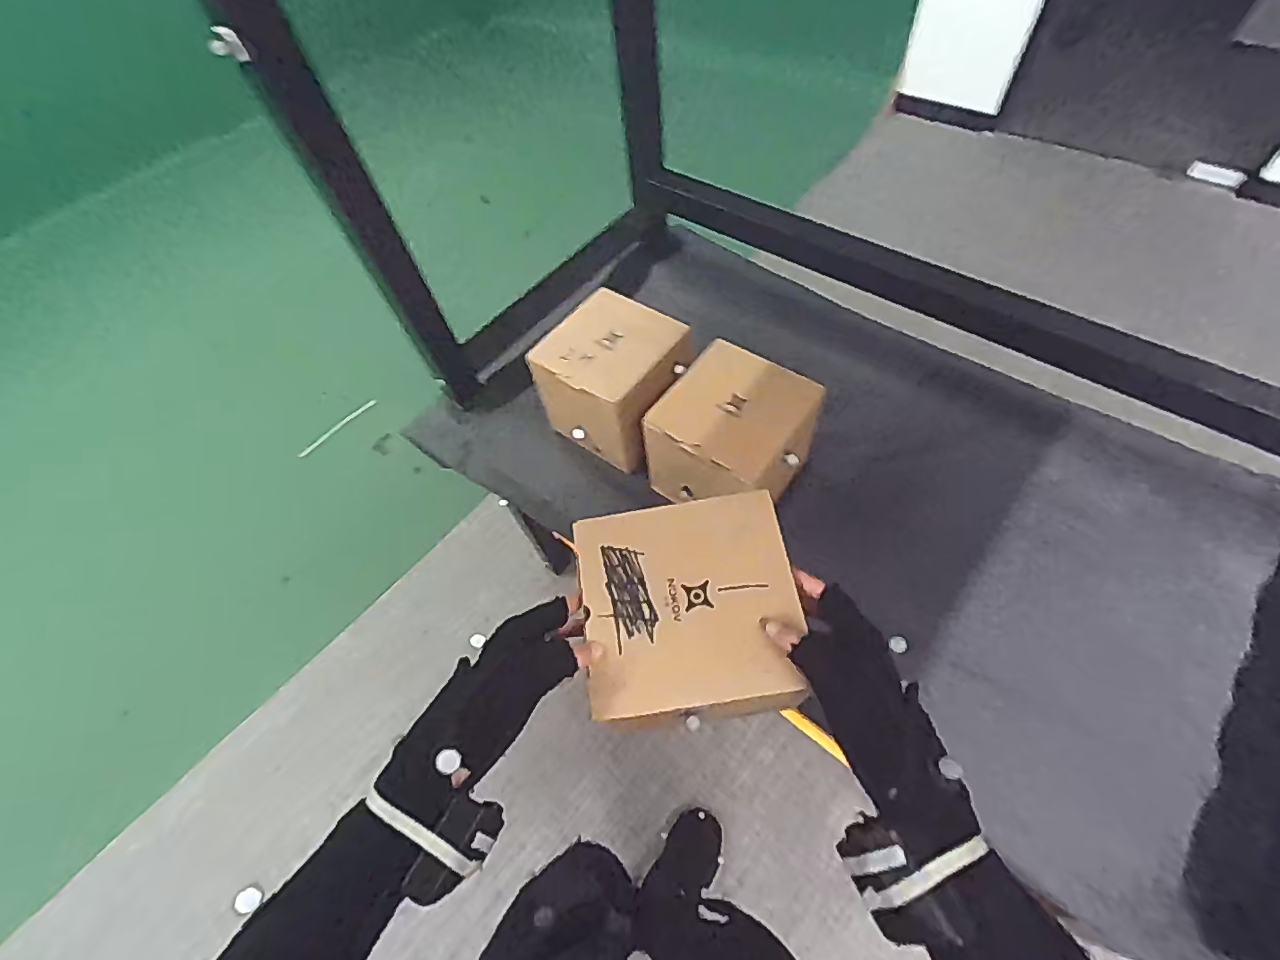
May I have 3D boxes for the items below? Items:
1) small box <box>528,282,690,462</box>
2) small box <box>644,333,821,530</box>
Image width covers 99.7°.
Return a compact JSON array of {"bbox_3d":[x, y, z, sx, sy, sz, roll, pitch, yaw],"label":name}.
[{"bbox_3d":[-0.039,-0.162,0.831,0.168,0.176,0.179,31,67,22],"label":"small box"},{"bbox_3d":[0.123,-0.064,0.757,0.168,0.176,0.179,32,67,22],"label":"small box"}]
